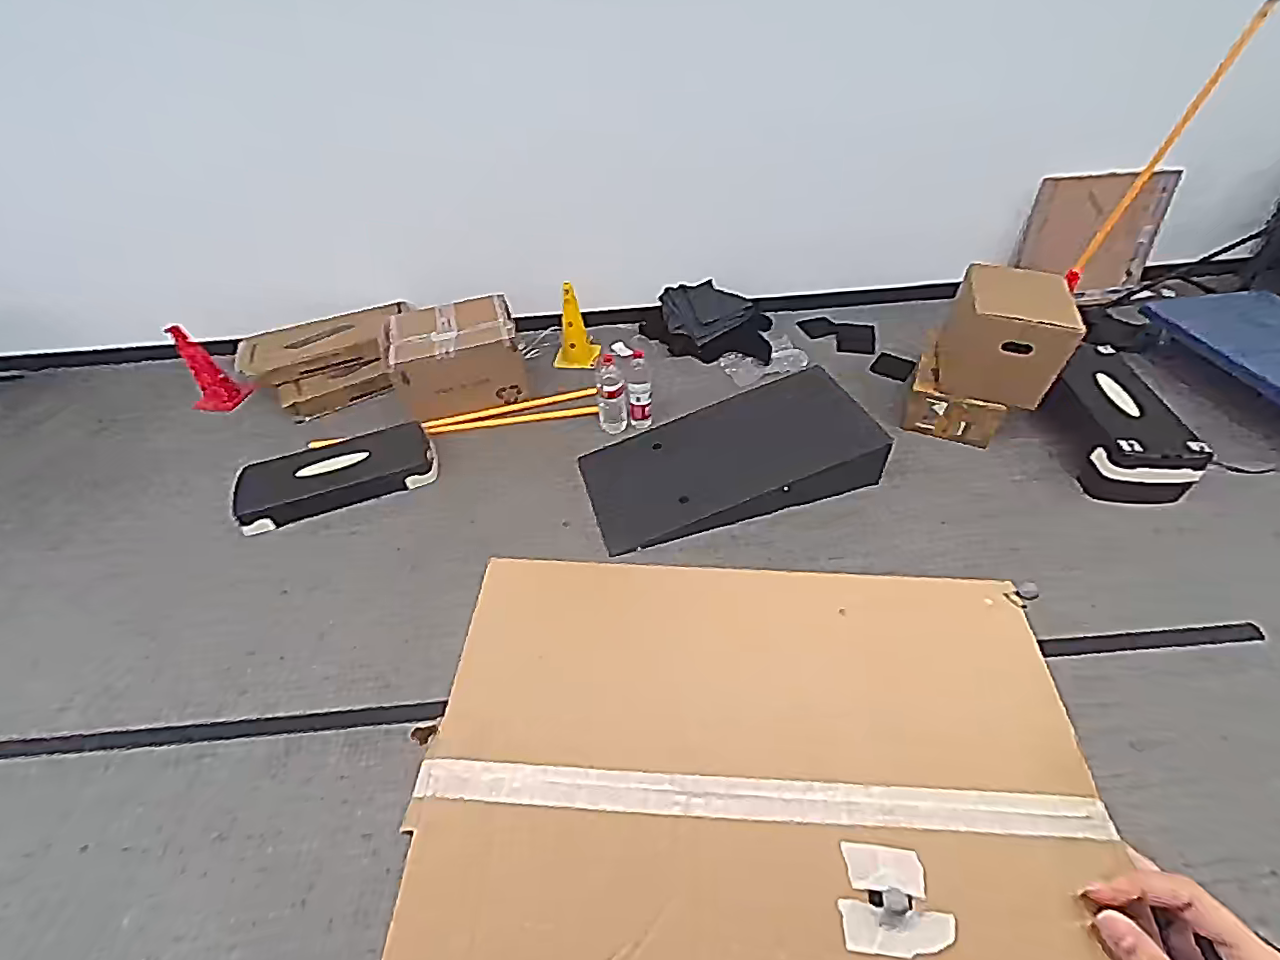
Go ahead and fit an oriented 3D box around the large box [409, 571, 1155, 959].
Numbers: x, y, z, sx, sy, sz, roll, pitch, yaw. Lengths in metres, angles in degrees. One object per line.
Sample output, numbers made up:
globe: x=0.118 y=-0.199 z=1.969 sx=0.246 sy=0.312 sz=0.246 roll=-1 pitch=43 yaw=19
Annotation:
large box: x=0.077 y=0.291 z=0.450 sx=0.408 sy=0.320 sz=0.320 roll=2 pitch=52 yaw=2
